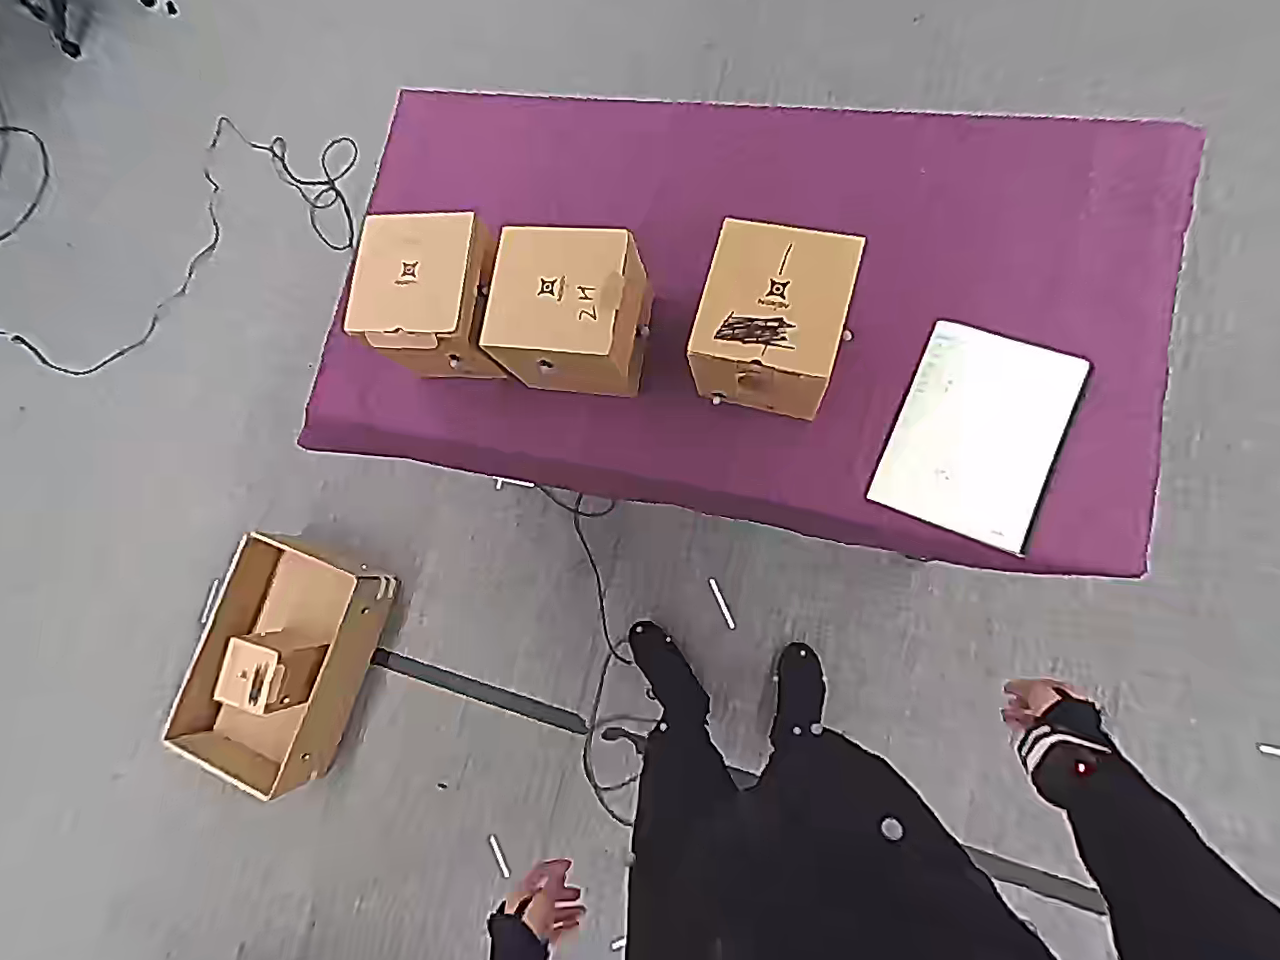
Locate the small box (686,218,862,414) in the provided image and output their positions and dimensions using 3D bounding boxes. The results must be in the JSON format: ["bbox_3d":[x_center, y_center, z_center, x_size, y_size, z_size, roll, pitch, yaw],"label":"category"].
[{"bbox_3d":[0.168,-0.198,0.696,0.168,0.176,0.179,15,83,13],"label":"small box"}]

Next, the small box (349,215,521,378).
[{"bbox_3d":[-0.290,-0.259,0.799,0.168,0.176,0.179,4,81,11],"label":"small box"}]
